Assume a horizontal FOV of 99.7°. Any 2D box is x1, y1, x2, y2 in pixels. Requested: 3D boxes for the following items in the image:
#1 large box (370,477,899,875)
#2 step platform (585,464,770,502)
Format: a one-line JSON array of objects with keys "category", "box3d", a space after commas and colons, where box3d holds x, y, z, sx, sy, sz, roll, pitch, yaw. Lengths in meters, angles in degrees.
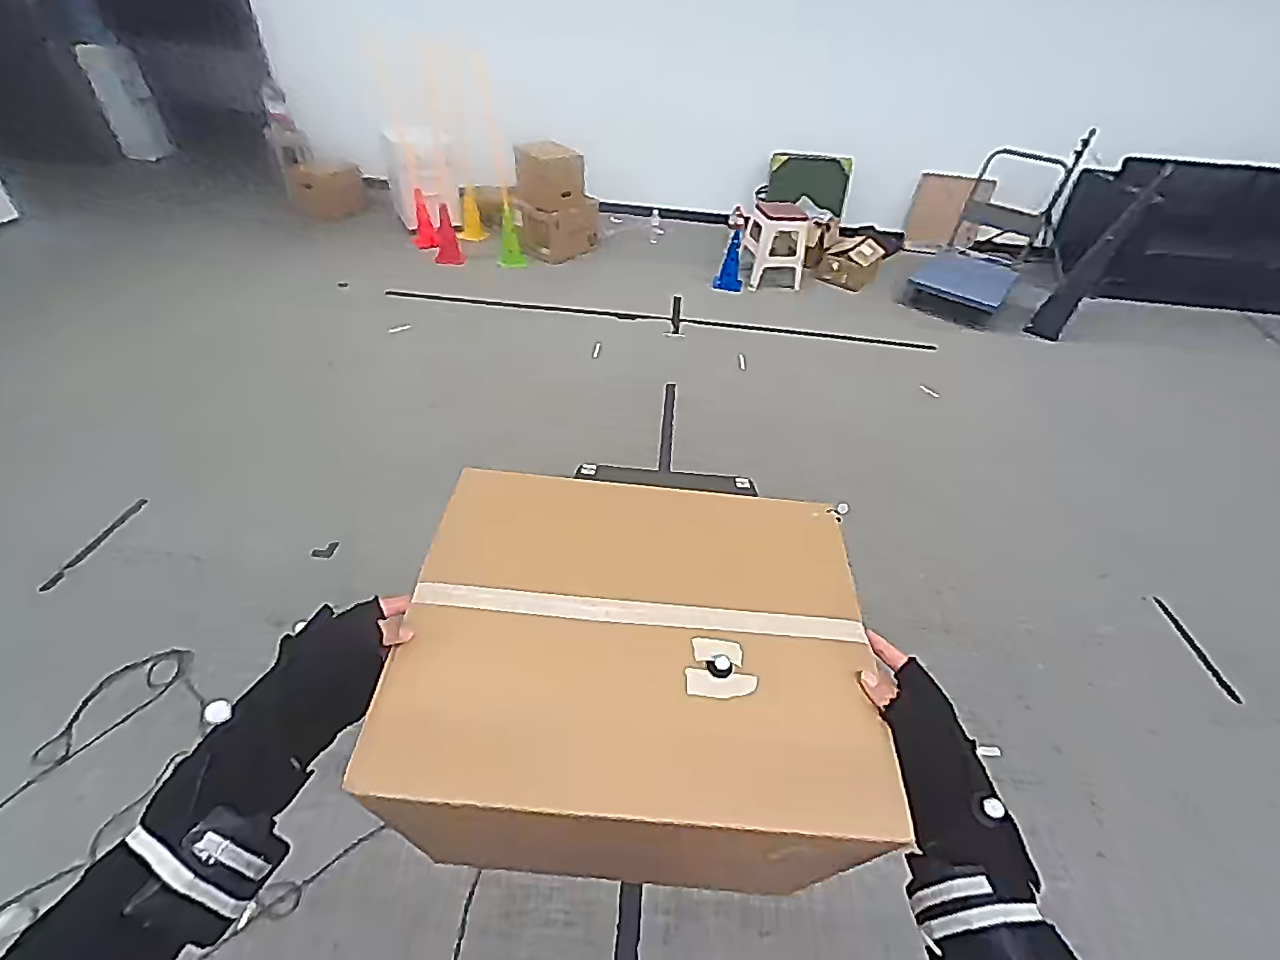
[{"category": "large box", "box3d": [-0.009, 0.225, 0.606, 0.408, 0.320, 0.320, 6, 48, -2]}, {"category": "step platform", "box3d": [0.127, 0.121, 1.964, 0.684, 0.204, 0.286, 5, 43, -2]}]
